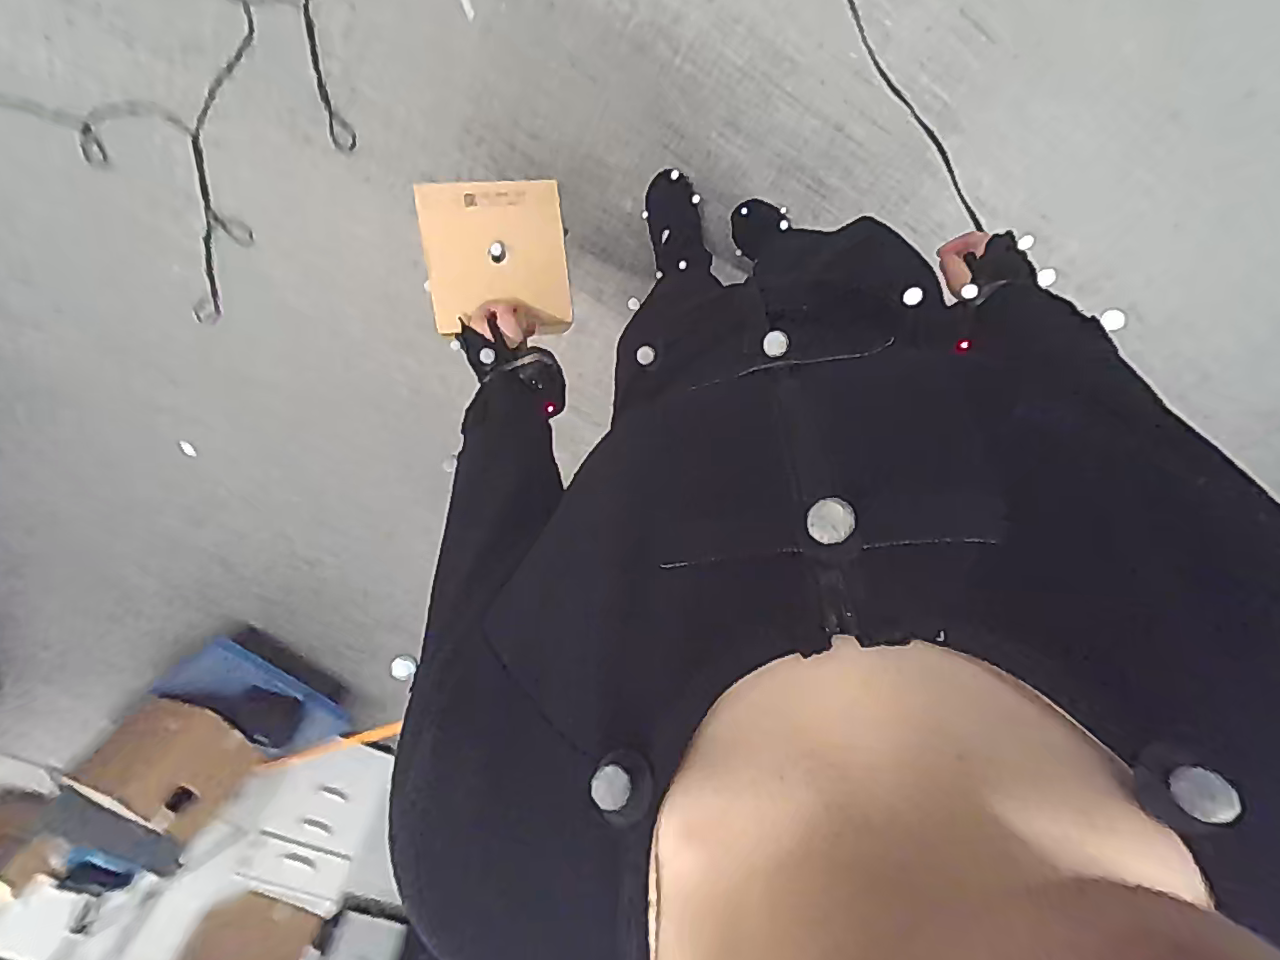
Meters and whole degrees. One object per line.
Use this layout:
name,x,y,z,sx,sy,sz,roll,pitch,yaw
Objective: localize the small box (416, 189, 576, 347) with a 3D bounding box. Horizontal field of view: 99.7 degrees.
small box,-0.189,-0.278,0.725,0.168,0.179,0.176,-10,103,-12
